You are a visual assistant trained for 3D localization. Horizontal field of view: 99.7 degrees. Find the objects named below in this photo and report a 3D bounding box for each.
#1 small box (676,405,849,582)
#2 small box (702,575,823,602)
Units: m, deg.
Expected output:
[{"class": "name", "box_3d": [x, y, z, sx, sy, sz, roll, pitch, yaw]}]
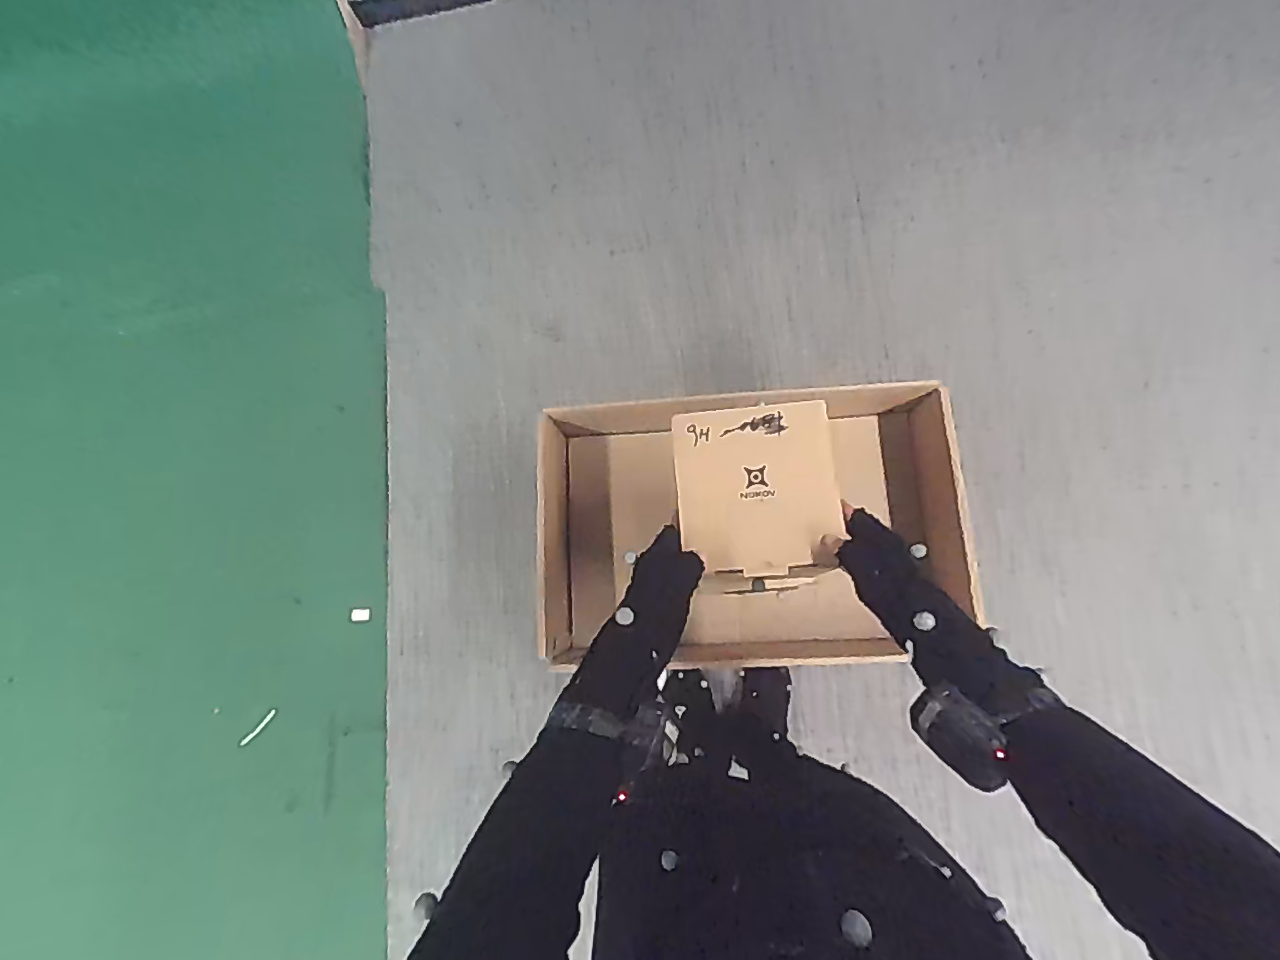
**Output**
[{"class": "small box", "box_3d": [0.134, 0.028, 0.636, 0.168, 0.176, 0.179, -5, 76, 6]}, {"class": "small box", "box_3d": [0.173, 0.092, 0.839, 0.168, 0.176, 0.179, -6, 77, 5]}]
